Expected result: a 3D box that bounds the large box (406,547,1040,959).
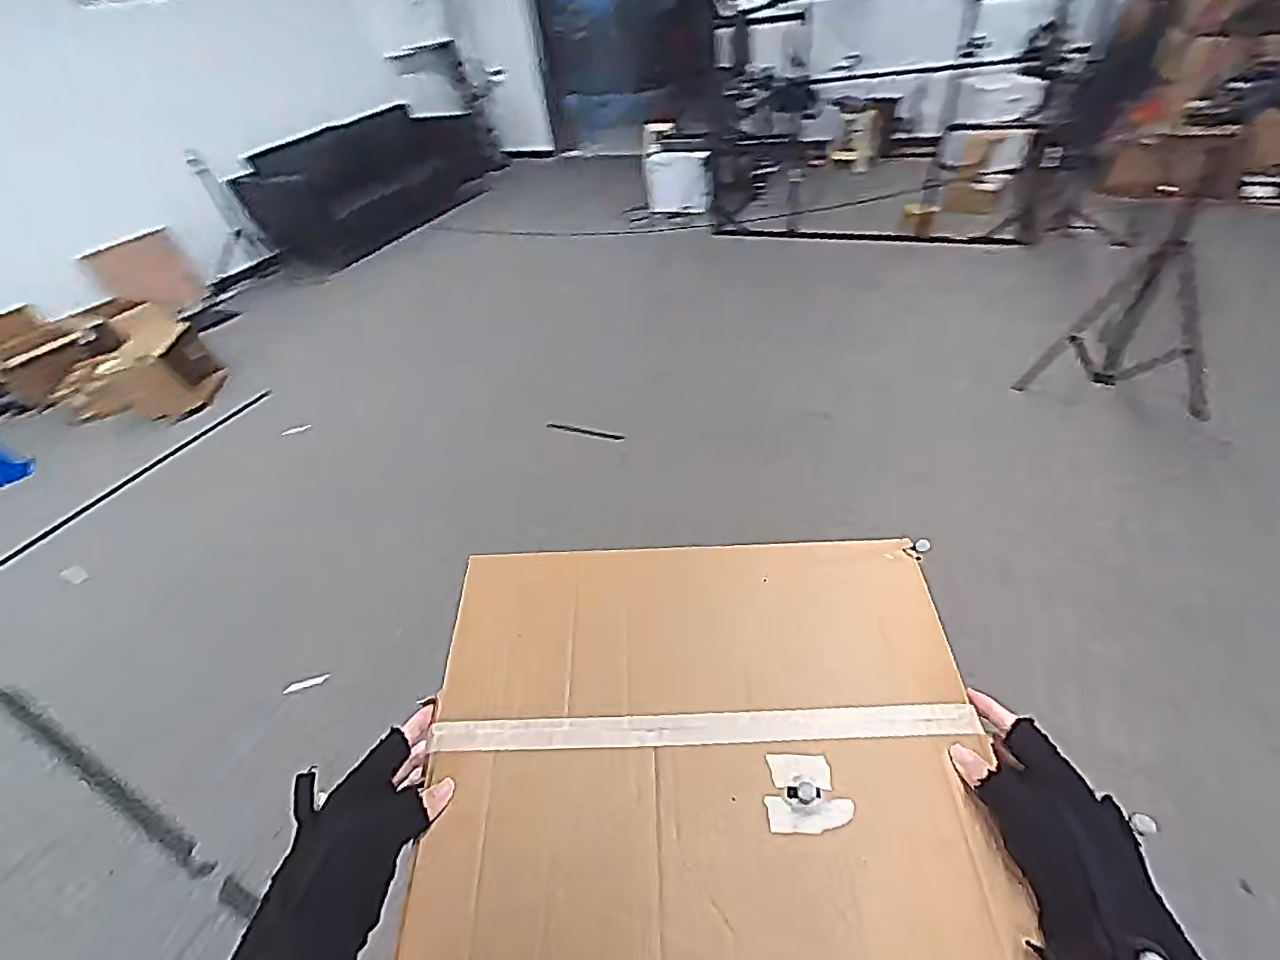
[{"bbox_3d":[0.048,0.288,0.536,0.408,0.320,0.320,-3,53,1],"label":"large box"}]
